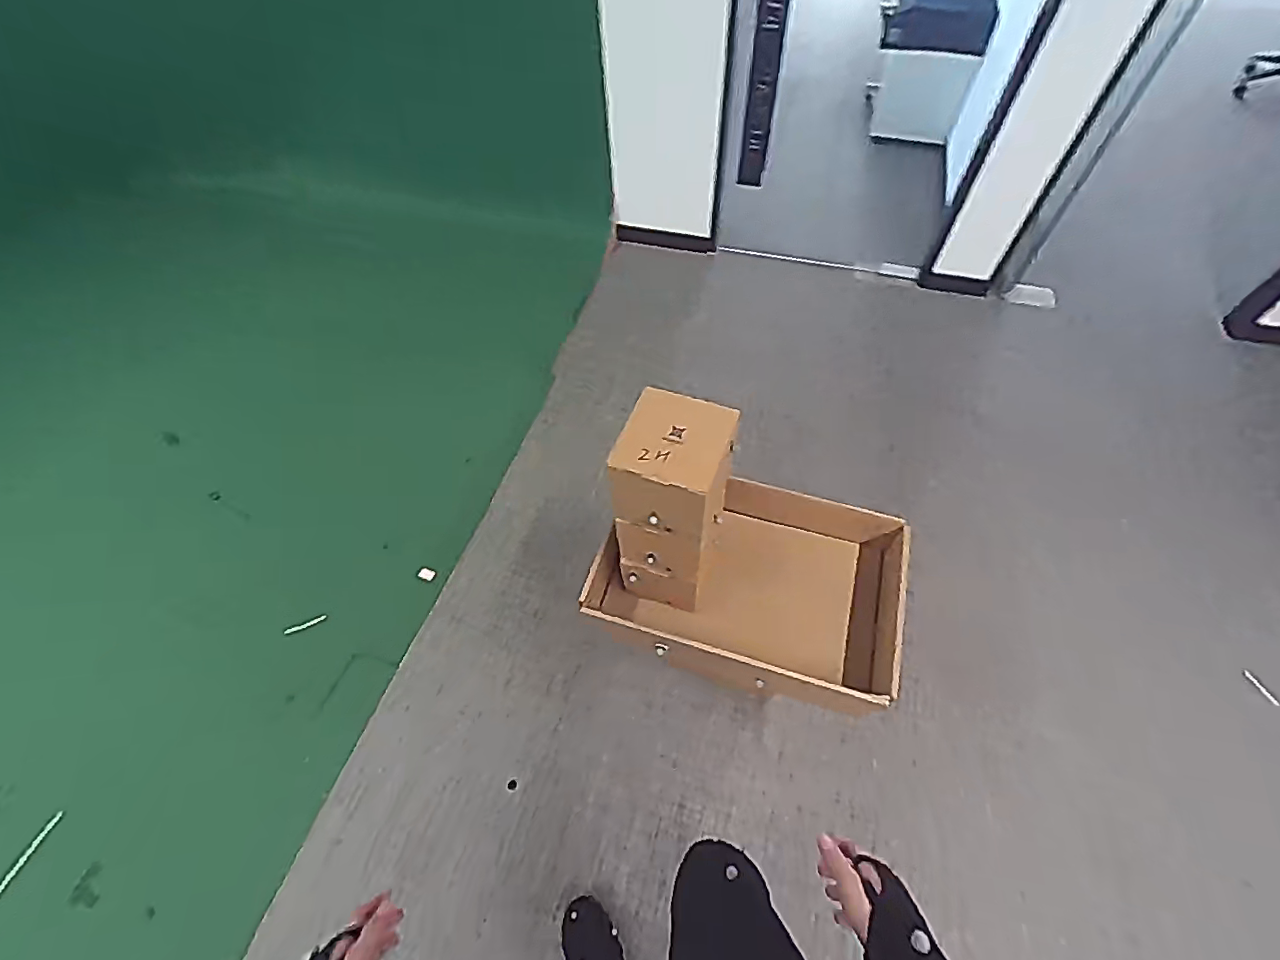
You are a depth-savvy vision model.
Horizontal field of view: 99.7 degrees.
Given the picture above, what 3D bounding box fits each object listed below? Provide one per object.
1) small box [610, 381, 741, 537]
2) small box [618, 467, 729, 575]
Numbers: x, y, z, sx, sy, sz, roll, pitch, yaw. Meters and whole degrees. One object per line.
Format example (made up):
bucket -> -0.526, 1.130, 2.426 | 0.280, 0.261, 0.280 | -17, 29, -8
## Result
small box -> 0.060, -0.033, 0.920 | 0.168, 0.176, 0.179 | 18, 60, 14
small box -> 0.064, 0.058, 1.058 | 0.168, 0.176, 0.179 | 16, 59, 12
